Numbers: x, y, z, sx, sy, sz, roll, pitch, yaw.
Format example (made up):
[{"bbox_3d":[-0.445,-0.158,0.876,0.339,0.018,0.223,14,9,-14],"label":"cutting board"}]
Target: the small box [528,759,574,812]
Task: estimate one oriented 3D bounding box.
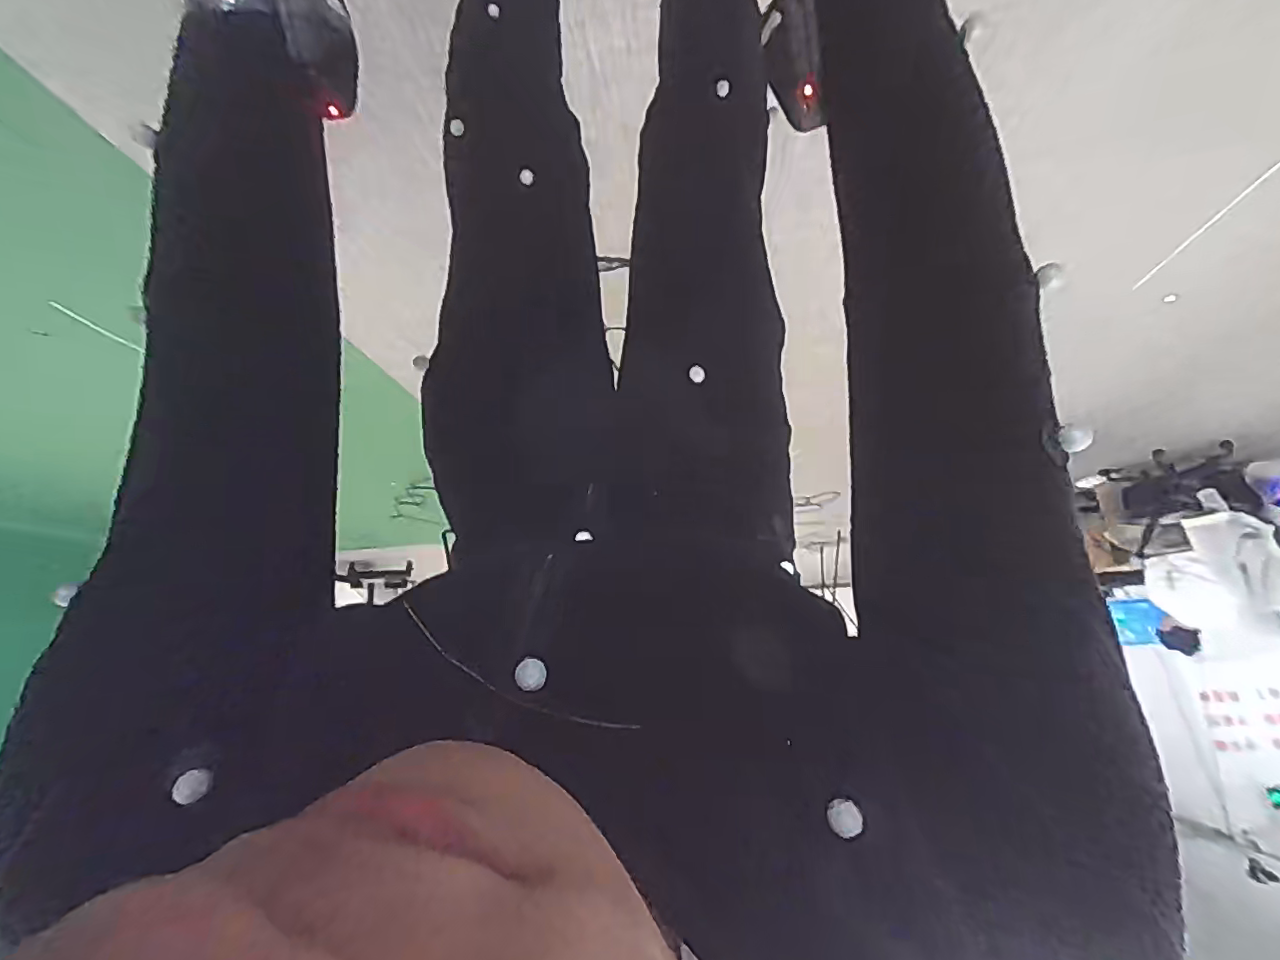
[{"bbox_3d":[-0.388,1.329,2.357,0.168,0.176,0.179,-4,161,4],"label":"small box"}]
